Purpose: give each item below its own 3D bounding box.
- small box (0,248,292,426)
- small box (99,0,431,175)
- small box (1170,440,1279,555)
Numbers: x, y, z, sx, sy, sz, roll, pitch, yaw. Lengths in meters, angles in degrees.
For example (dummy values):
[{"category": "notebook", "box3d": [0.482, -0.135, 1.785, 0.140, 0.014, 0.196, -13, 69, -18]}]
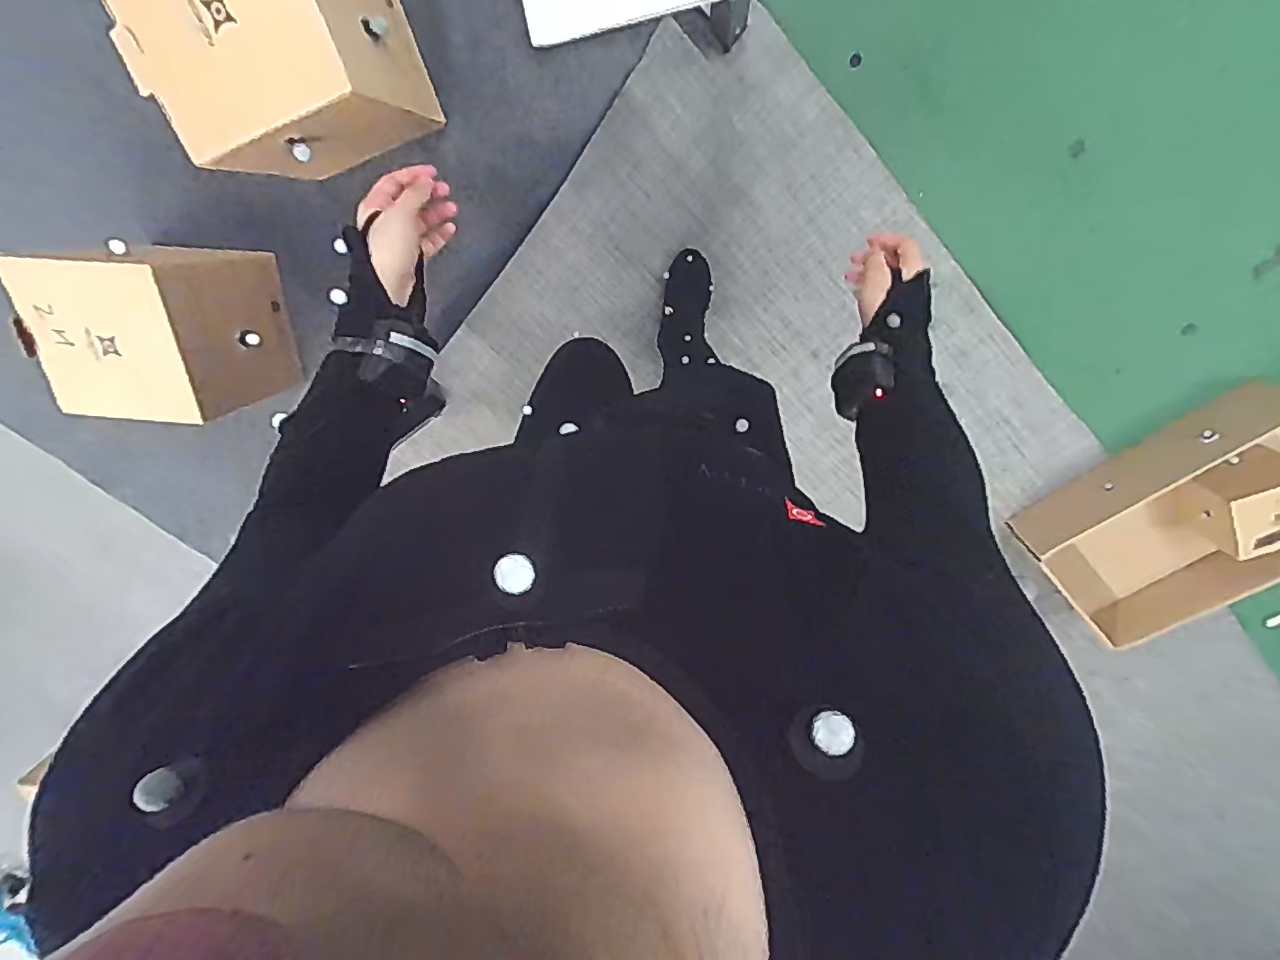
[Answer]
[{"category": "small box", "box3d": [-0.543, -0.174, 0.629, 0.179, 0.176, 0.168, 5, 116, 5]}, {"category": "small box", "box3d": [-0.318, -0.394, 0.489, 0.179, 0.176, 0.168, -13, 114, 15]}, {"category": "small box", "box3d": [1.393, 0.038, 1.255, 0.168, 0.176, 0.179, -25, 112, 19]}]
